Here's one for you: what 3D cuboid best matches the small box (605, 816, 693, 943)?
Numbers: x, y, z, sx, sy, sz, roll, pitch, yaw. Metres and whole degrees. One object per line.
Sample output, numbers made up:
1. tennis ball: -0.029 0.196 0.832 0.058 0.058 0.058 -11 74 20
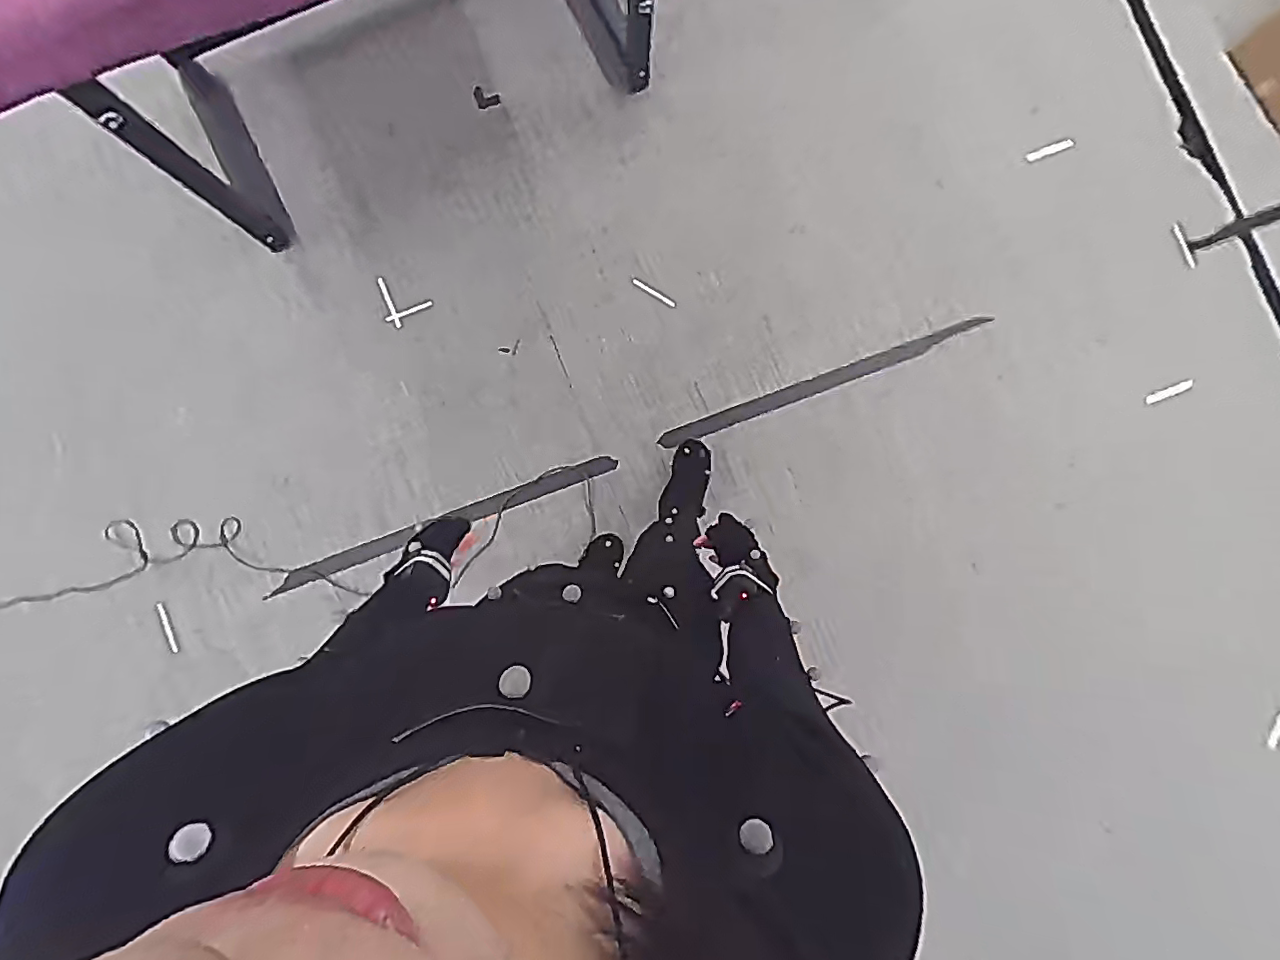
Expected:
1. small box: 0.015 0.987 1.355 0.179 0.176 0.168 -19 87 -5
